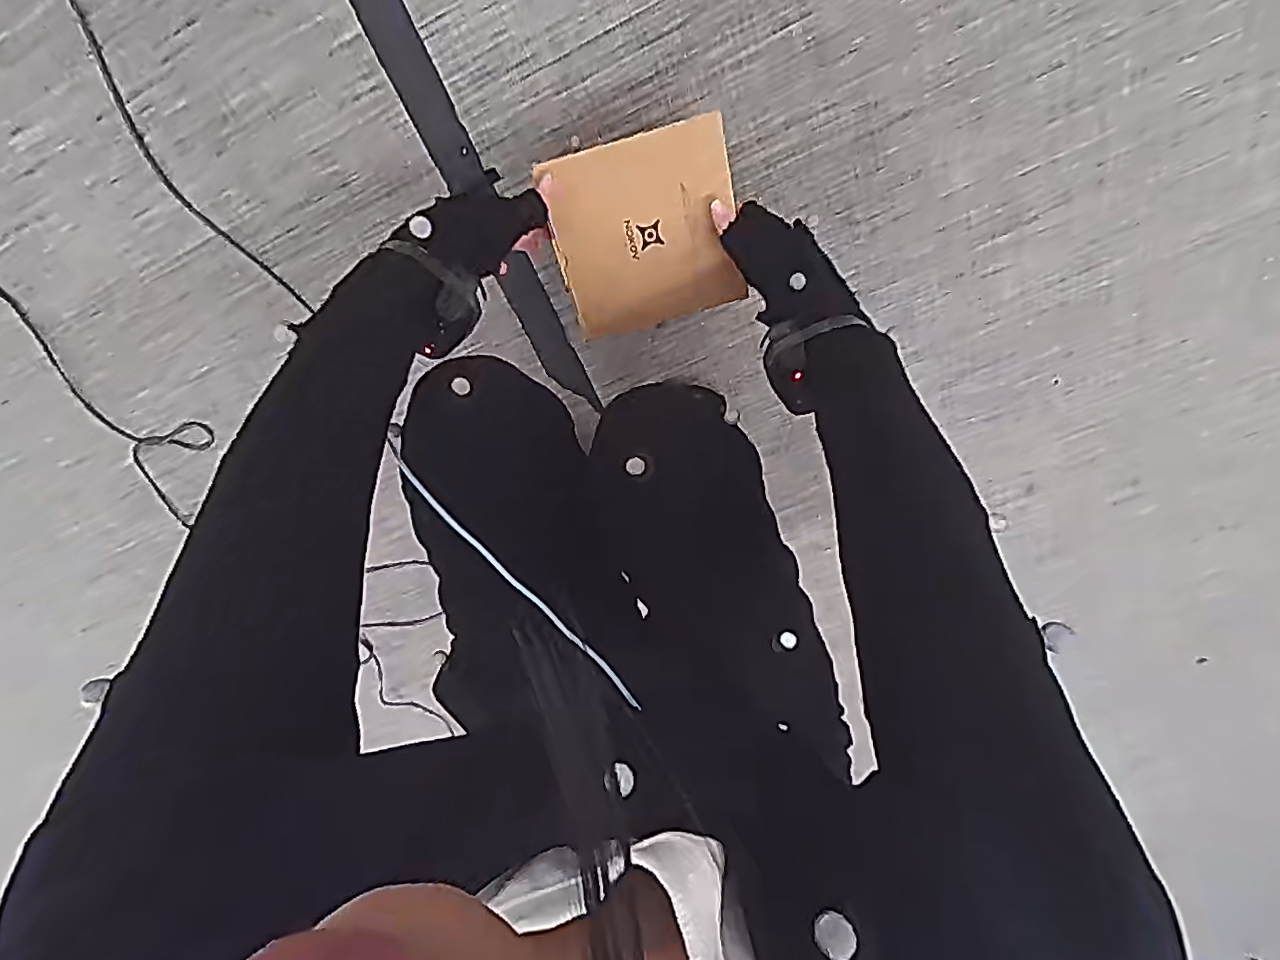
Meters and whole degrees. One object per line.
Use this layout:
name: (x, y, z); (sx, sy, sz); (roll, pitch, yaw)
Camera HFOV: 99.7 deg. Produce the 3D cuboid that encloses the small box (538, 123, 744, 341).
small box: (0.003, -0.274, 0.602); (0.179, 0.176, 0.168); (-14, 120, 4)
